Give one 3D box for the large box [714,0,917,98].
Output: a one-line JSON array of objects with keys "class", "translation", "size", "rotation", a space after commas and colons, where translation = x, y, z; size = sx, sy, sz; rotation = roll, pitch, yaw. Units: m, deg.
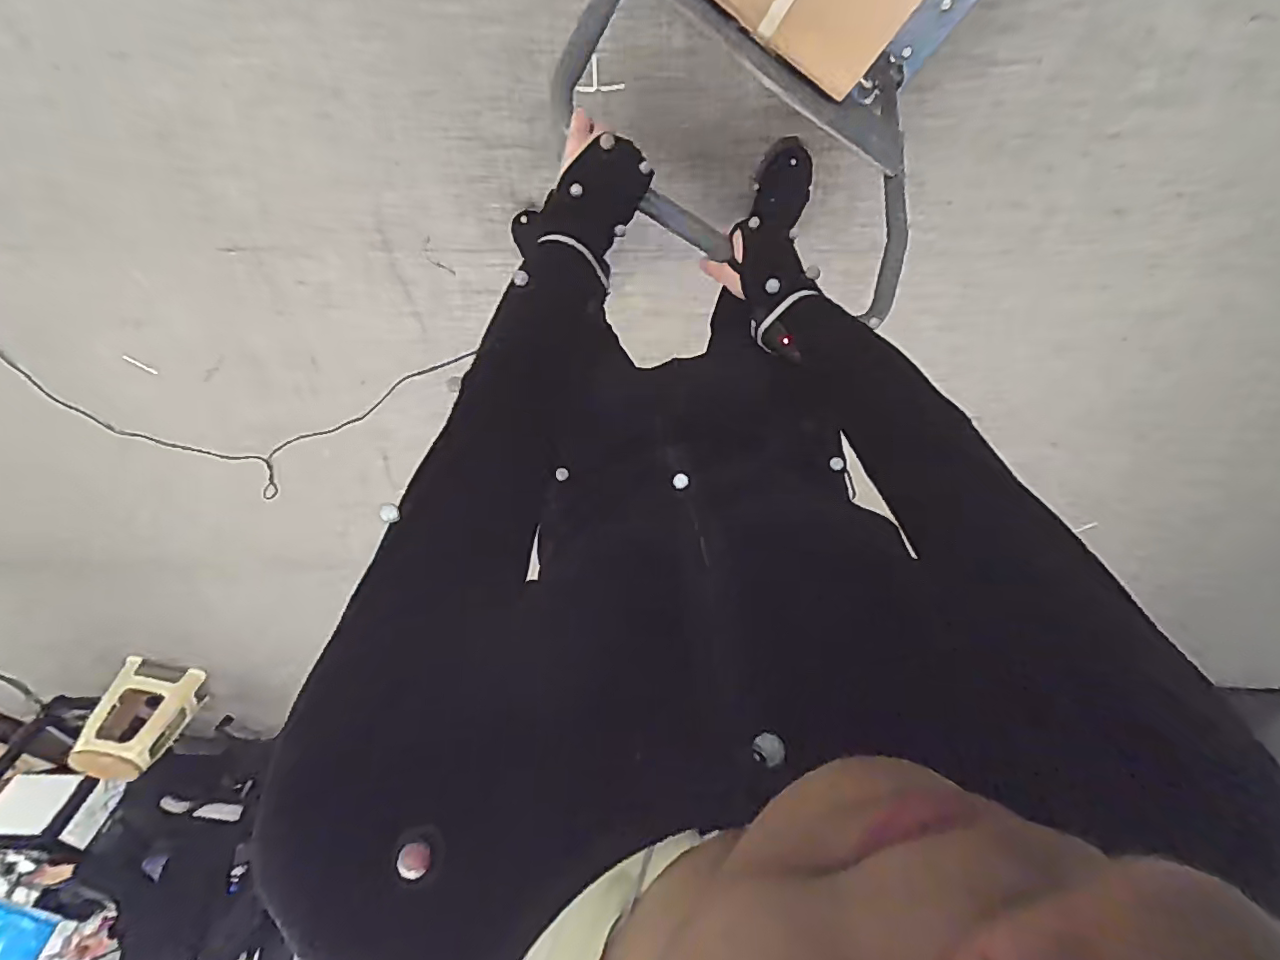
[{"class": "large box", "translation": [0.291, -0.844, 0.712], "size": [0.320, 0.320, 0.408], "rotation": [25, 143, -18]}]
